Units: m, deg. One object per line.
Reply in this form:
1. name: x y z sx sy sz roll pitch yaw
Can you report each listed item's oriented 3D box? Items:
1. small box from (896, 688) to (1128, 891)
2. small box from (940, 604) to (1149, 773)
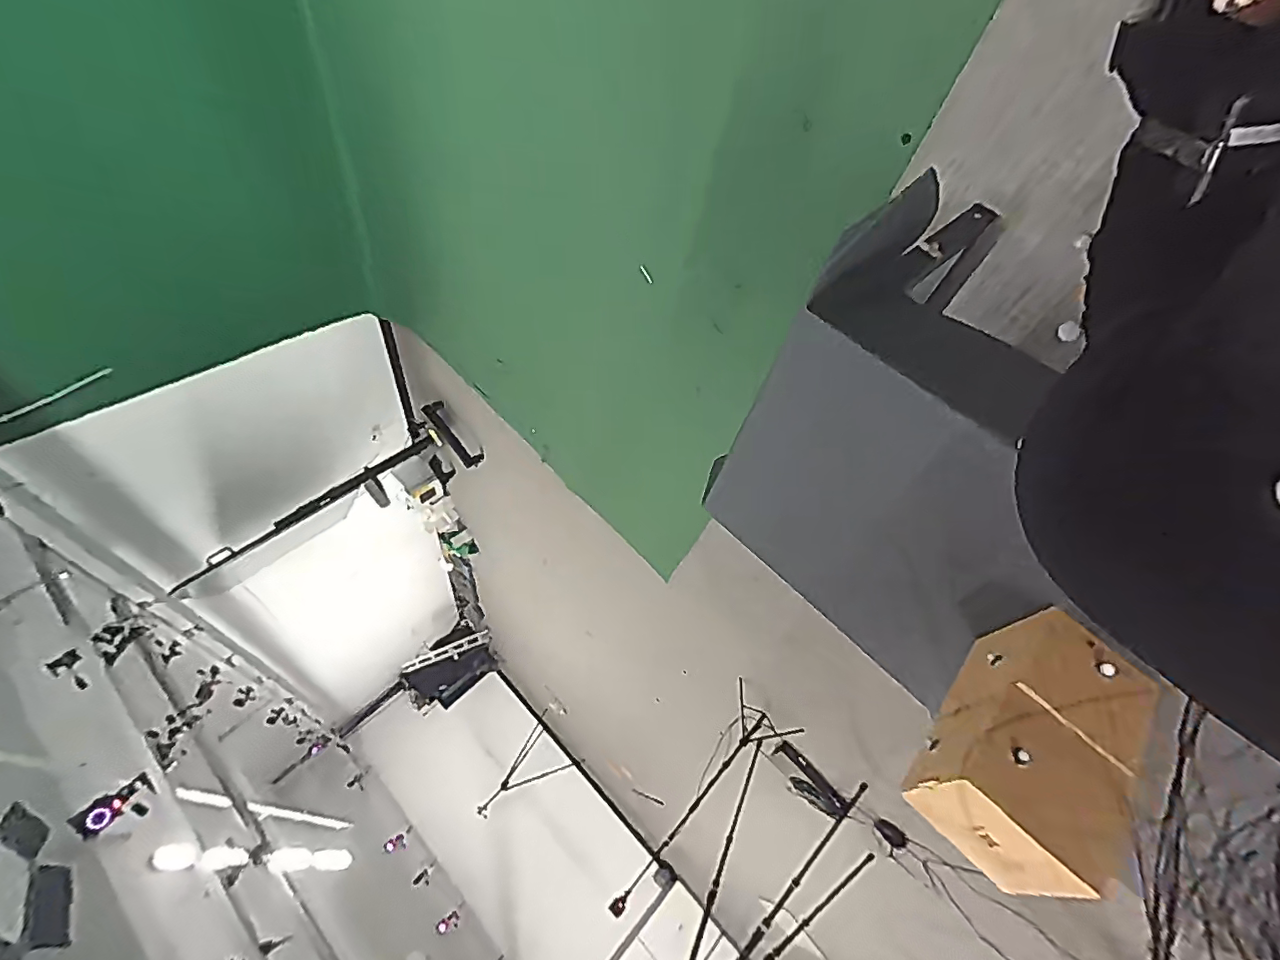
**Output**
1. small box: 0.500 0.411 0.738 0.179 0.176 0.168 42 148 18
2. small box: 0.610 0.322 0.820 0.168 0.176 0.179 43 147 16
